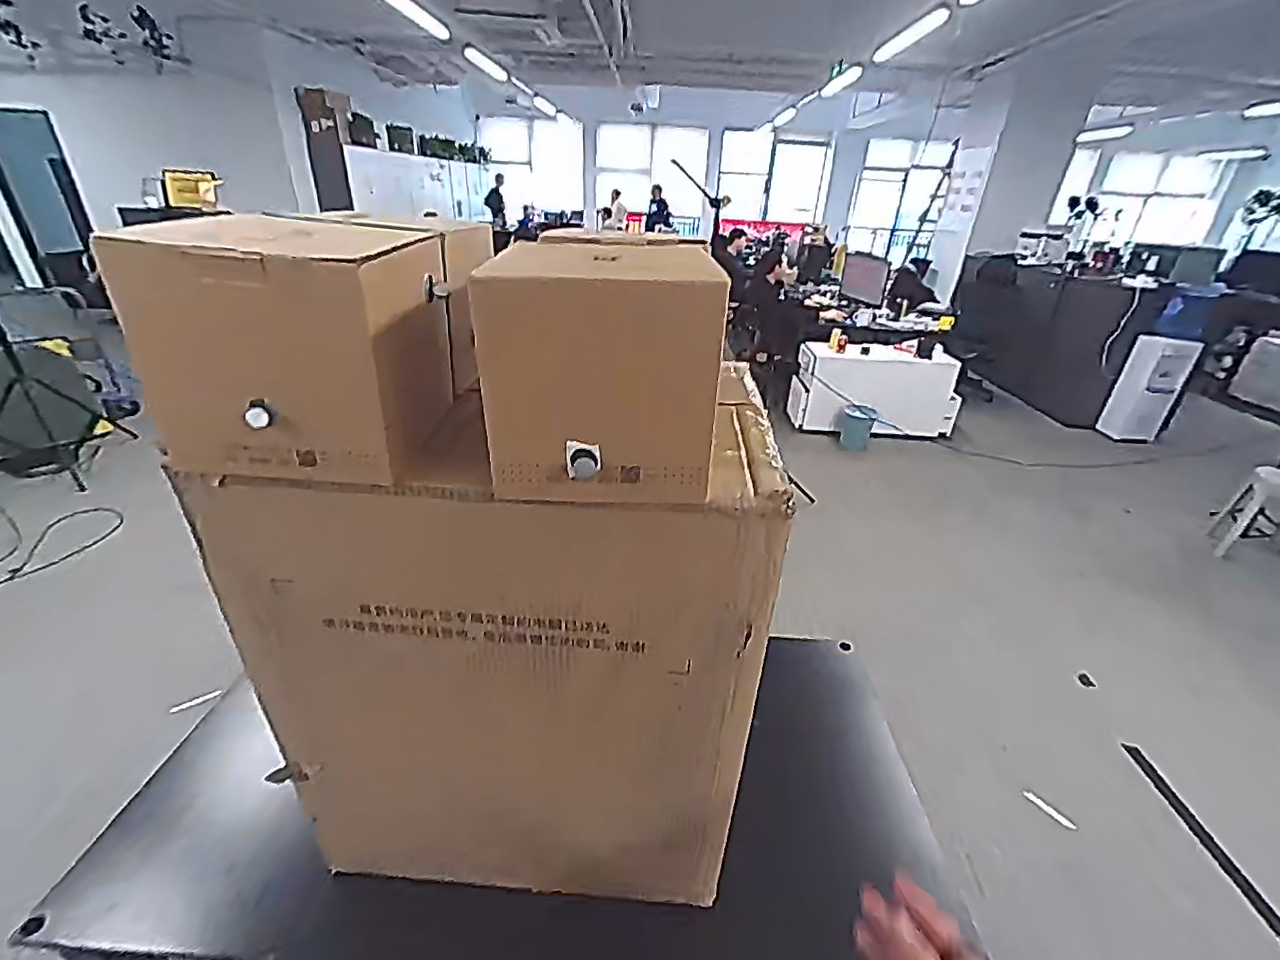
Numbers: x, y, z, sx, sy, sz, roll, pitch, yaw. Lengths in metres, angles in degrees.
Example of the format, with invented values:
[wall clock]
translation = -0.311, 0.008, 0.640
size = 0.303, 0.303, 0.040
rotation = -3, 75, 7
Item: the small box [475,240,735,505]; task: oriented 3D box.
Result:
[small box]
translation = -0.025, -0.095, 0.446
size = 0.168, 0.176, 0.179
rotation = -1, 31, -2
